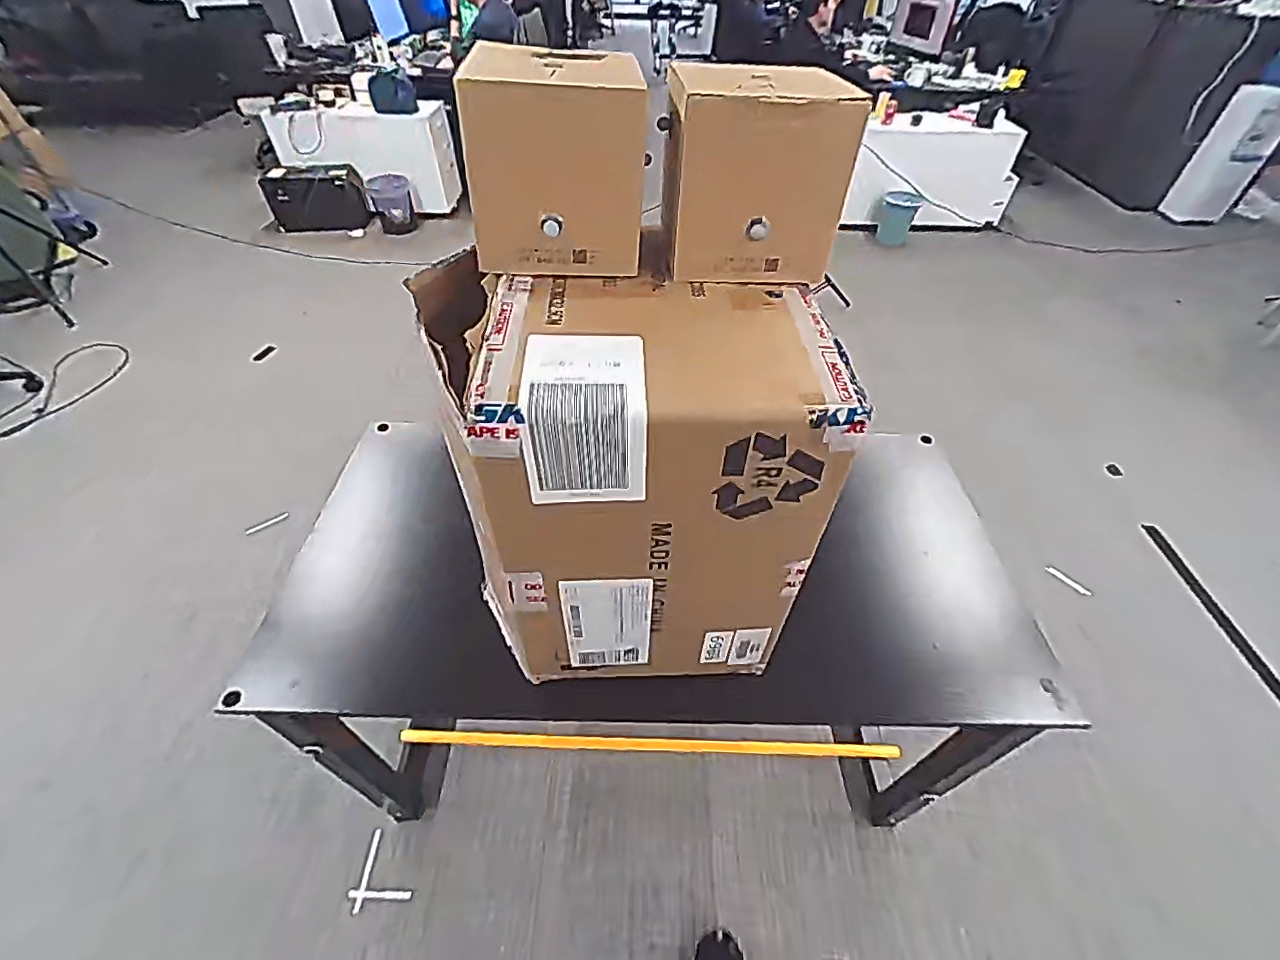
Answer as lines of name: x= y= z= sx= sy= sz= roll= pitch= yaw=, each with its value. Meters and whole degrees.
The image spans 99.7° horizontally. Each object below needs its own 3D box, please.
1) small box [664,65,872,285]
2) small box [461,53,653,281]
small box: x=0.117 y=-0.329 z=0.585 sx=0.168 sy=0.176 sz=0.179 roll=-1 pitch=45 yaw=-3
small box: x=-0.082 y=-0.330 z=0.573 sx=0.168 sy=0.176 sz=0.179 roll=-1 pitch=45 yaw=-6
